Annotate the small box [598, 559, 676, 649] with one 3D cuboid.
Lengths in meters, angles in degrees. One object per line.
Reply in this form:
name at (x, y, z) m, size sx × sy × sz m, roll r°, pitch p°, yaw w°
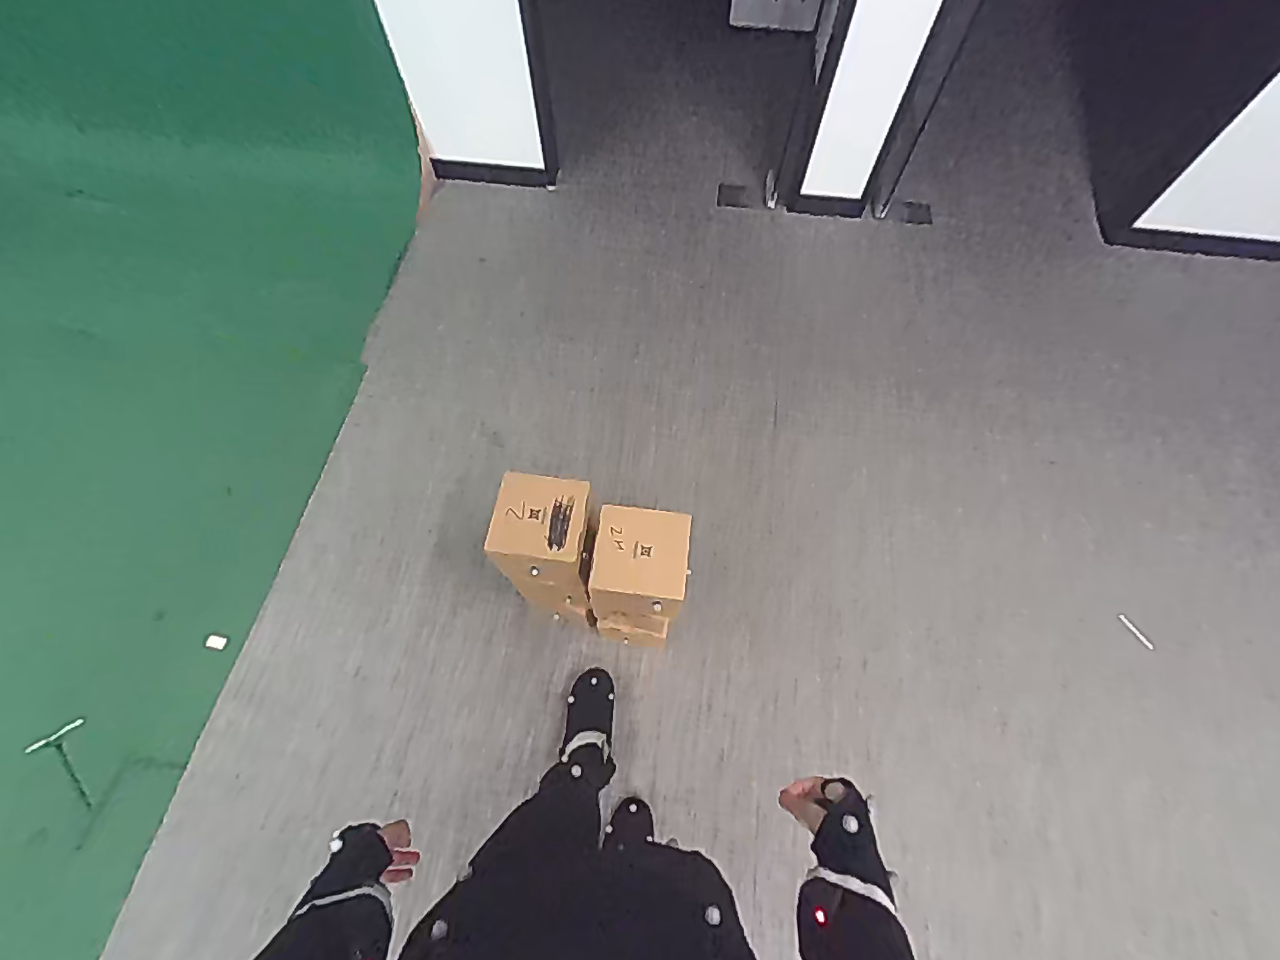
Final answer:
small box at (-0.007, 0.315, 1.358) m, size 0.168 × 0.176 × 0.179 m, roll 8°, pitch 66°, yaw 4°
